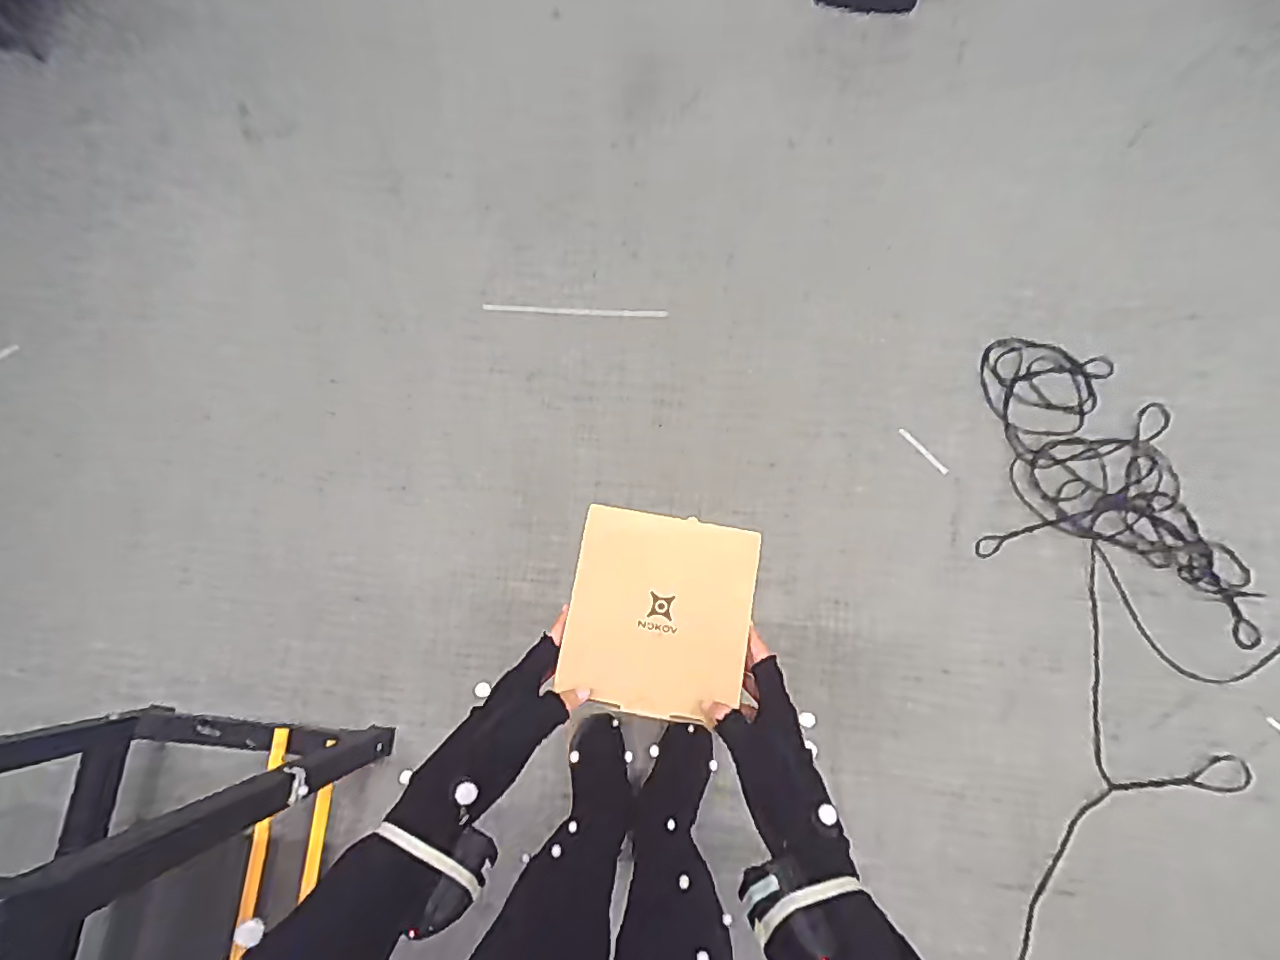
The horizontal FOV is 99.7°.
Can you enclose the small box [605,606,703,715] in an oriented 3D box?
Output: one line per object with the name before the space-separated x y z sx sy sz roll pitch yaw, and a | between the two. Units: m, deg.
small box | 0.032 0.365 1.122 0.168 0.176 0.179 9 78 6
